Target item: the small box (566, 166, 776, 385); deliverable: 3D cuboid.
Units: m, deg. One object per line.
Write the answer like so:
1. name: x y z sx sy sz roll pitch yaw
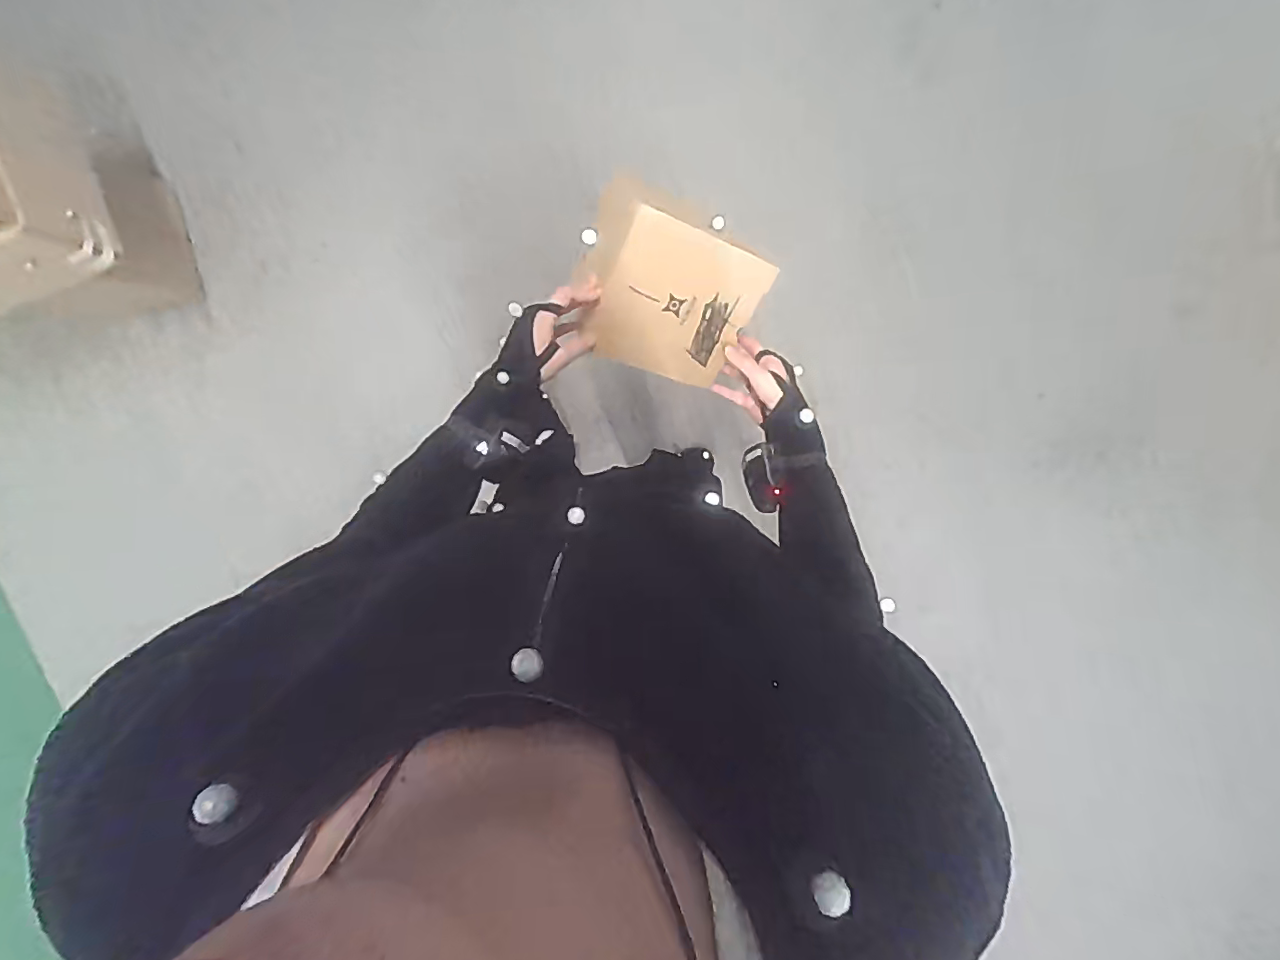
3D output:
1. small box: 0.023 -0.245 0.646 0.179 0.176 0.168 13 126 -24

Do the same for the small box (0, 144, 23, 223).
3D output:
1. small box: -1.345 -0.592 1.013 0.168 0.176 0.179 -14 96 8
